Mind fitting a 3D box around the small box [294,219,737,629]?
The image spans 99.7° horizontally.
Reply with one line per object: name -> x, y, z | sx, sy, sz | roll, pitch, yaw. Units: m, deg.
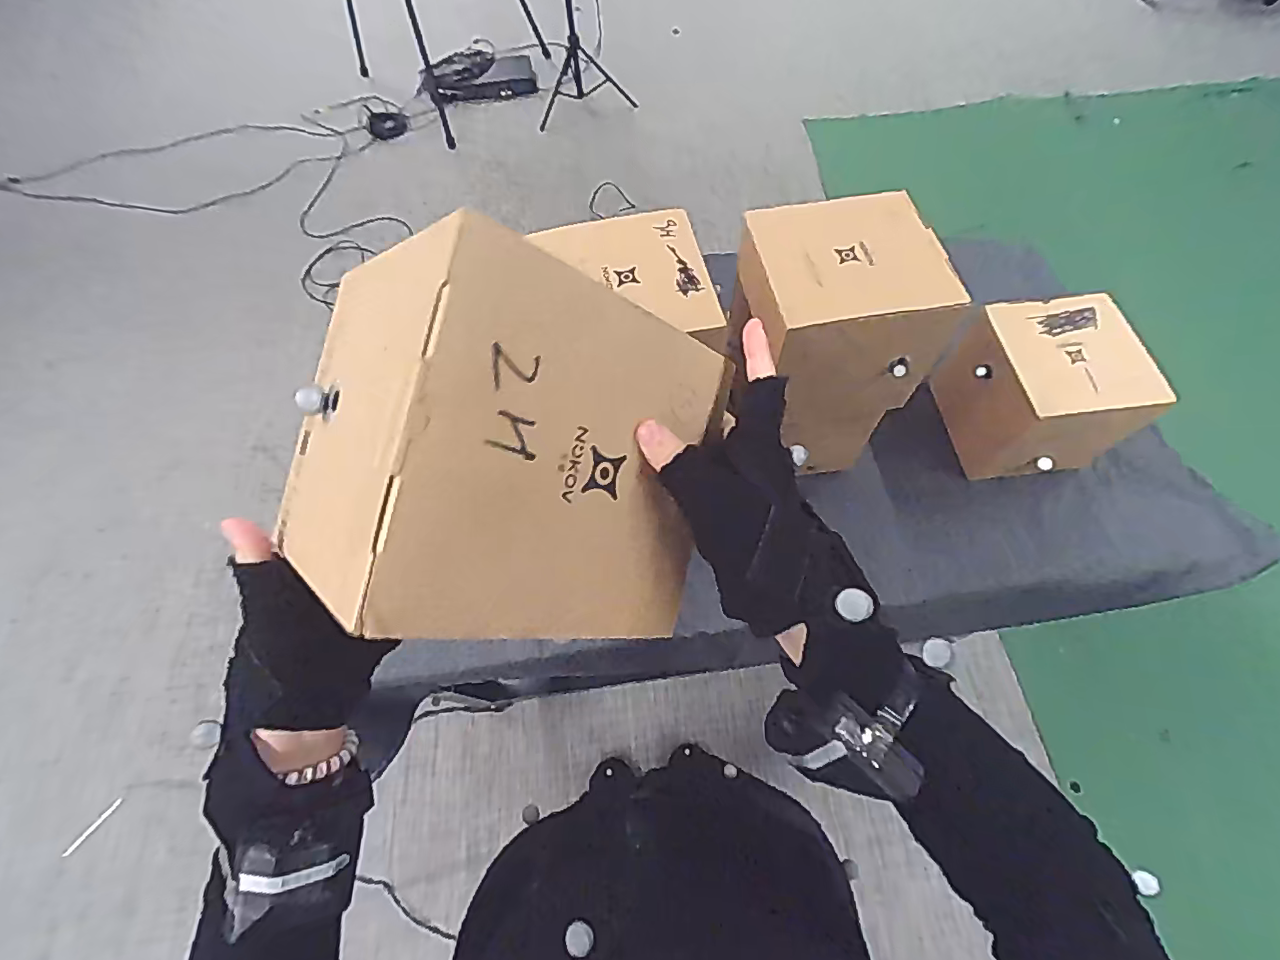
small box -> -0.075, -0.019, 0.321 | 0.176, 0.179, 0.168 | 10, 87, 48

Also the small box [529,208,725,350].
small box -> -0.015, -0.162, 0.599 | 0.179, 0.176, 0.168 | -12, 65, -3
